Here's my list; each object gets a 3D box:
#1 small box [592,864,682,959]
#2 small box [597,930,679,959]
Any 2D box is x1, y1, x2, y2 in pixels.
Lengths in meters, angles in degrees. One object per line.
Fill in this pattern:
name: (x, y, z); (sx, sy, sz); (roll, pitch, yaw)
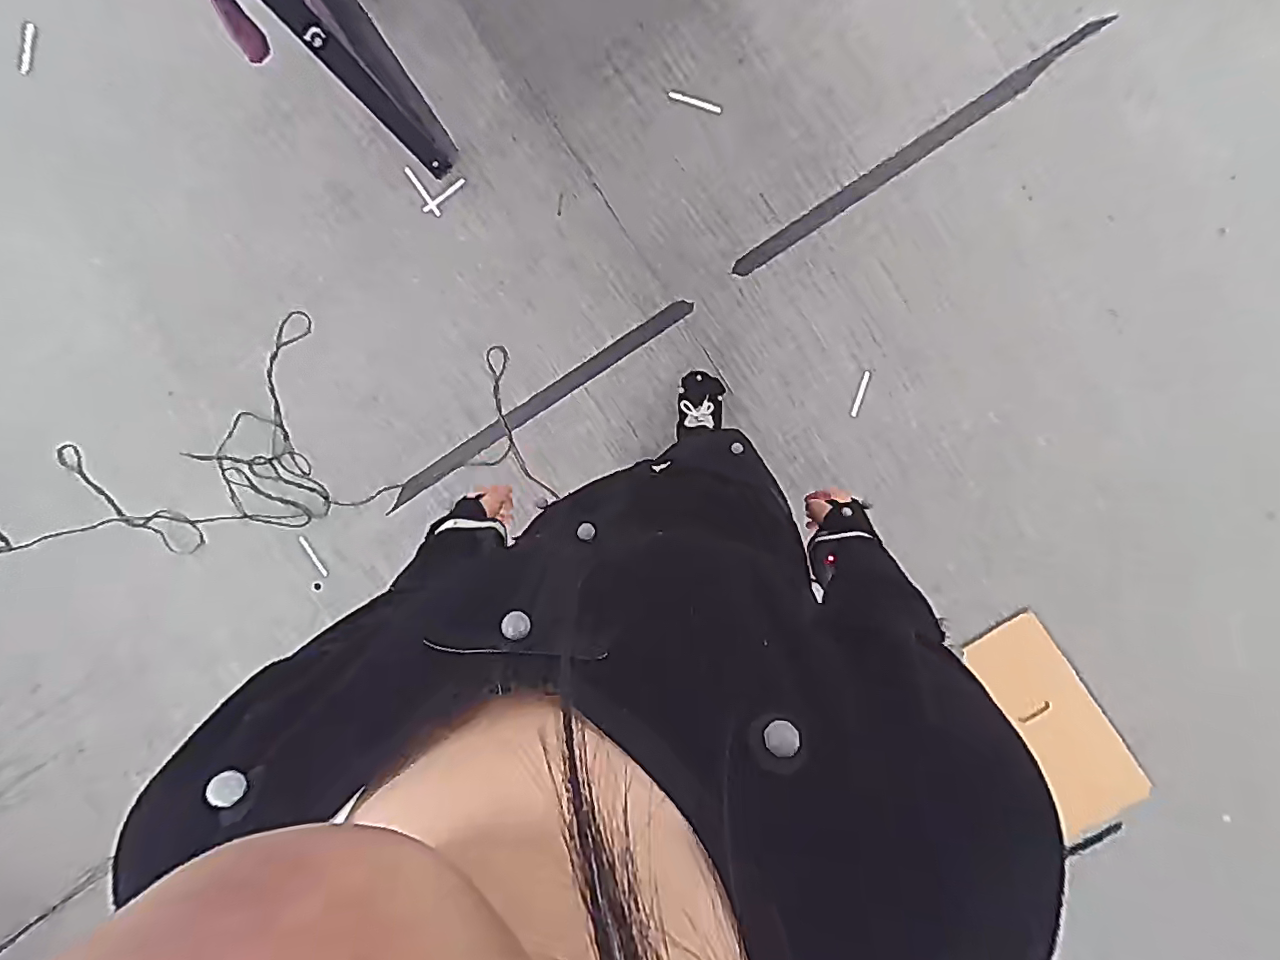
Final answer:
small box: (-0.005, 1.009, 1.193); (0.168, 0.176, 0.179); (16, 96, 3)
small box: (-0.020, 1.028, 1.031); (0.168, 0.176, 0.179); (16, 97, 3)
